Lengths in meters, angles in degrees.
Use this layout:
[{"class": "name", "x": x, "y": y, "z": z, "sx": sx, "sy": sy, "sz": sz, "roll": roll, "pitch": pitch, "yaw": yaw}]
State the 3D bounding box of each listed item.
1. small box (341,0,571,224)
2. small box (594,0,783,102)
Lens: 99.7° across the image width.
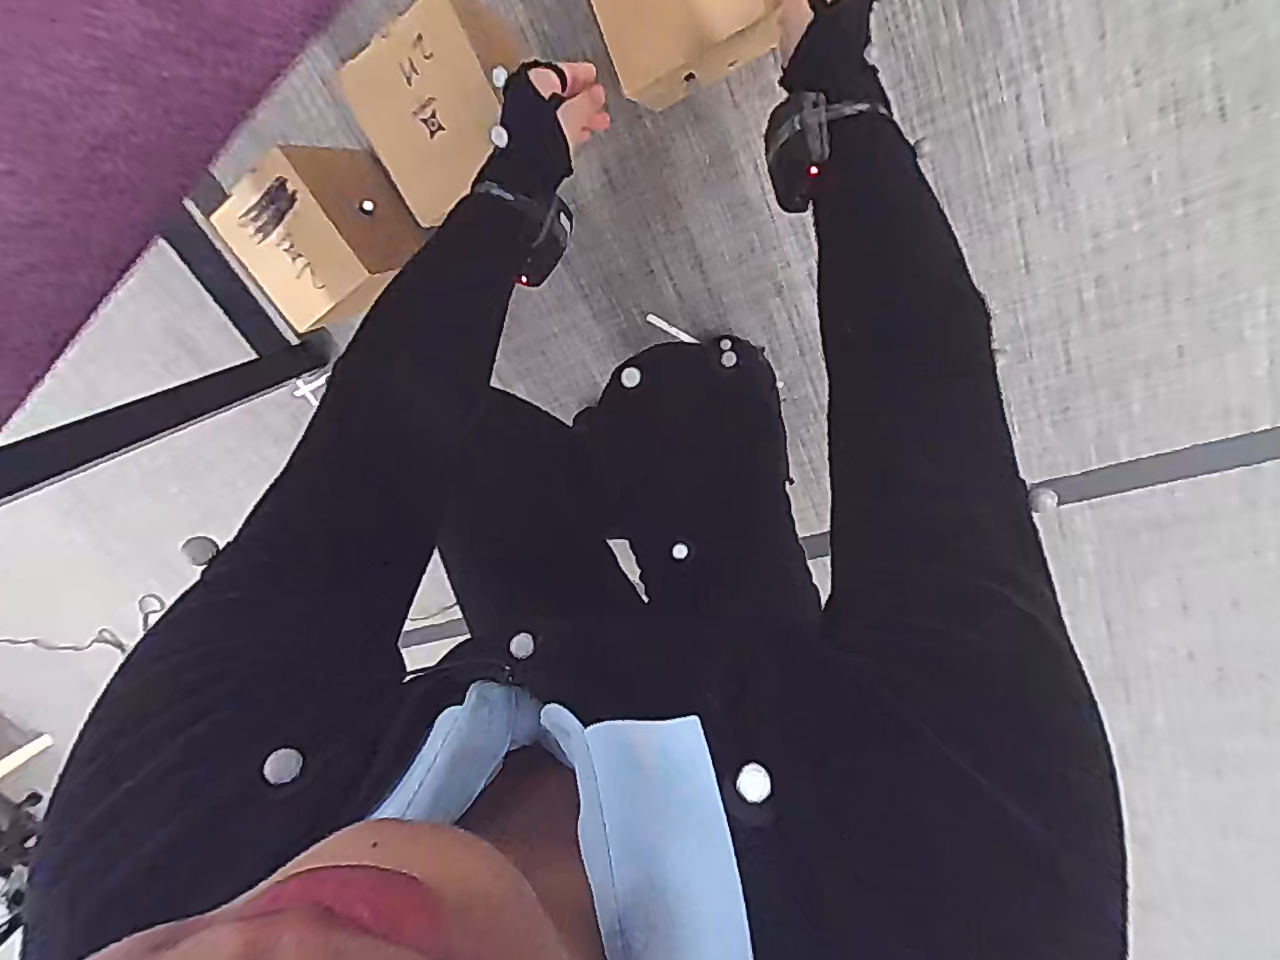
[{"class": "small box", "x": -0.210, "y": -0.445, "z": 0.670, "sx": 0.168, "sy": 0.176, "sz": 0.179, "roll": -18, "pitch": 112, "yaw": 22}, {"class": "small box", "x": 0.047, "y": -0.524, "z": 0.561, "sx": 0.168, "sy": 0.176, "sz": 0.179, "roll": -15, "pitch": 113, "yaw": 22}]
